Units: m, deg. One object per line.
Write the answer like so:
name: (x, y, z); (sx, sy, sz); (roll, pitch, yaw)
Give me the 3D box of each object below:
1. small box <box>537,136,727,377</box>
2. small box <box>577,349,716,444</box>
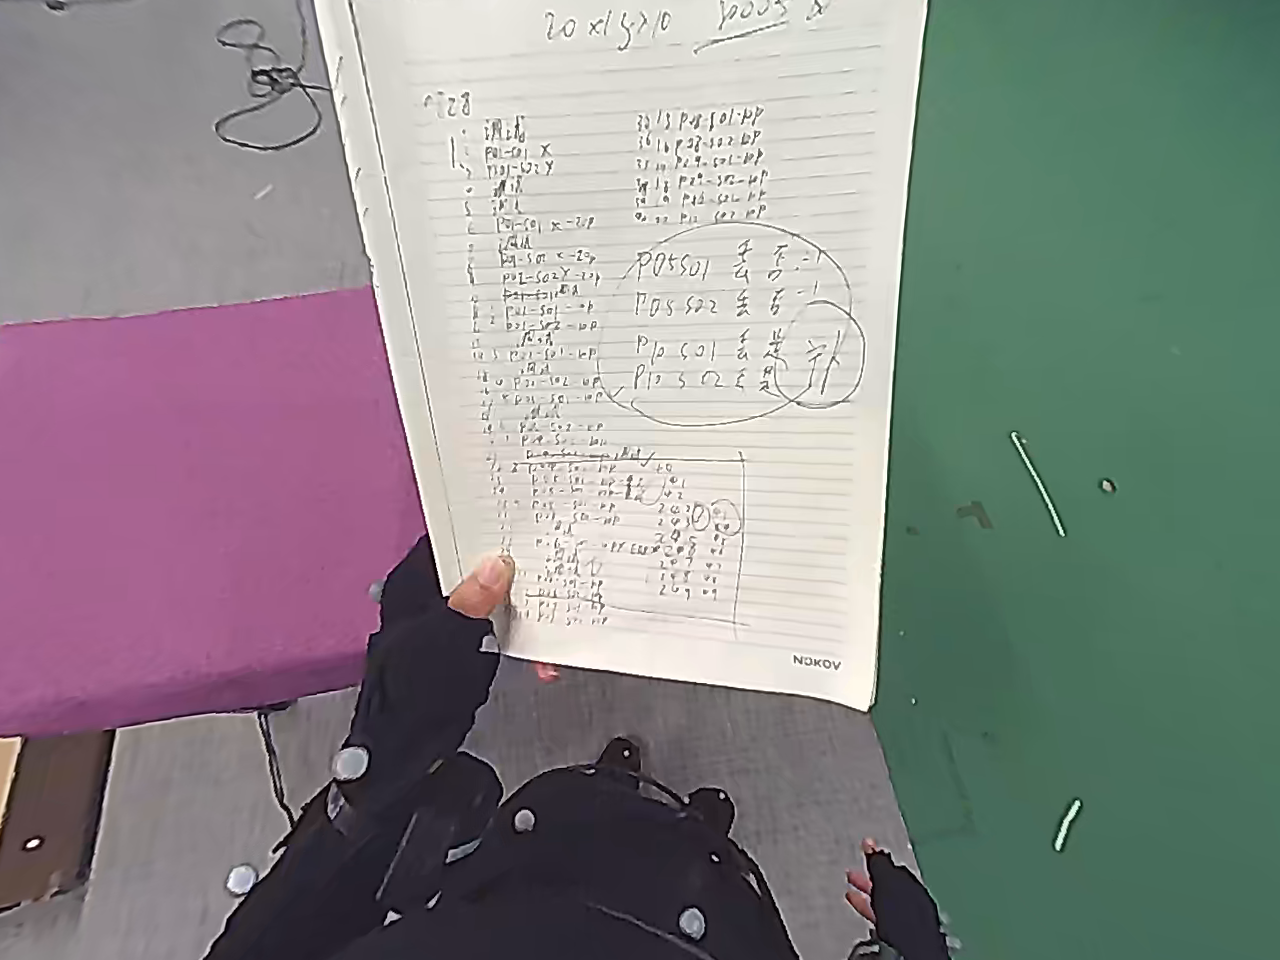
small box: (-0.009, -0.227, 0.585); (0.168, 0.176, 0.179); (-8, 67, -2)
small box: (0.003, -0.162, 0.735); (0.168, 0.176, 0.179); (-8, 66, -1)
